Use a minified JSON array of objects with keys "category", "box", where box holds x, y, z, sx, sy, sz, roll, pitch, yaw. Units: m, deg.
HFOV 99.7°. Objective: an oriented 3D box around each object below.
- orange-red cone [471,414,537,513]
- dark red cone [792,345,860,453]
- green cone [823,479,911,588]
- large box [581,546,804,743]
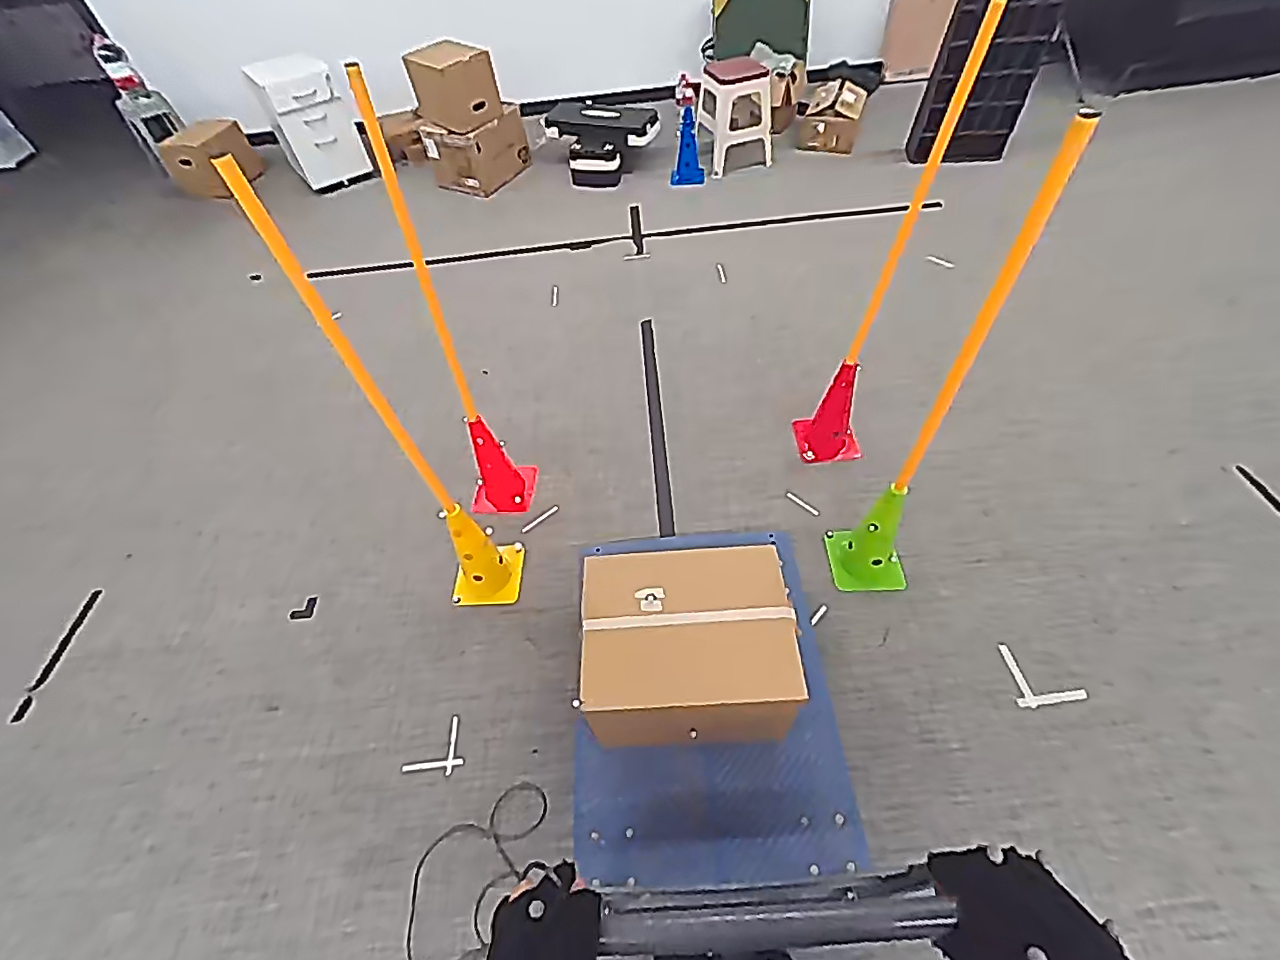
[{"category":"orange-red cone","box":[-0.477,-0.076,1.740,0.198,0.360,0.199,1,51,5]},{"category":"dark red cone","box":[0.640,-0.269,1.762,0.201,0.394,0.202,-5,53,-1]},{"category":"green cone","box":[0.655,0.125,1.478,0.202,0.368,0.200,-2,52,2]},{"category":"large box","box":[0.100,0.364,1.164,0.408,0.320,0.320,-5,52,3]}]
